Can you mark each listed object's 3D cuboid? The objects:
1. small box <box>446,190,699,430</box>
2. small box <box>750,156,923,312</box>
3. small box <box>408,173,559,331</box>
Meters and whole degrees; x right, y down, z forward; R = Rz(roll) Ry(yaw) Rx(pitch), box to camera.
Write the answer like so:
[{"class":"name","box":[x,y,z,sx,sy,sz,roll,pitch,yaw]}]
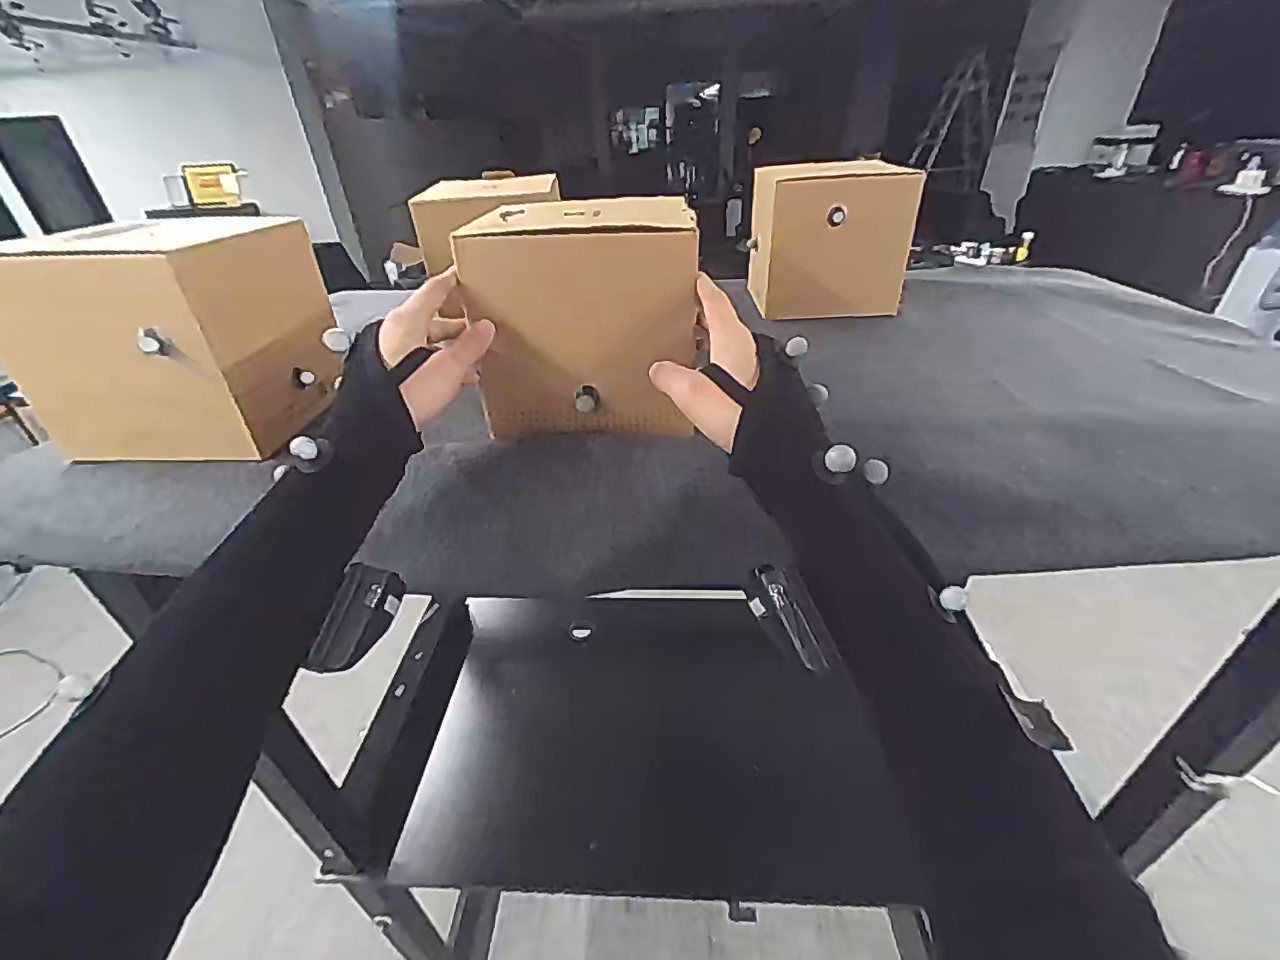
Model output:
[{"class":"small box","box":[-0.044,-0.152,0.477,0.179,0.176,0.168,0,32,2]},{"class":"small box","box":[0.245,-0.332,0.728,0.179,0.176,0.168,-1,34,3]},{"class":"small box","box":[-0.188,-0.311,0.734,0.168,0.176,0.179,-6,34,-2]}]
